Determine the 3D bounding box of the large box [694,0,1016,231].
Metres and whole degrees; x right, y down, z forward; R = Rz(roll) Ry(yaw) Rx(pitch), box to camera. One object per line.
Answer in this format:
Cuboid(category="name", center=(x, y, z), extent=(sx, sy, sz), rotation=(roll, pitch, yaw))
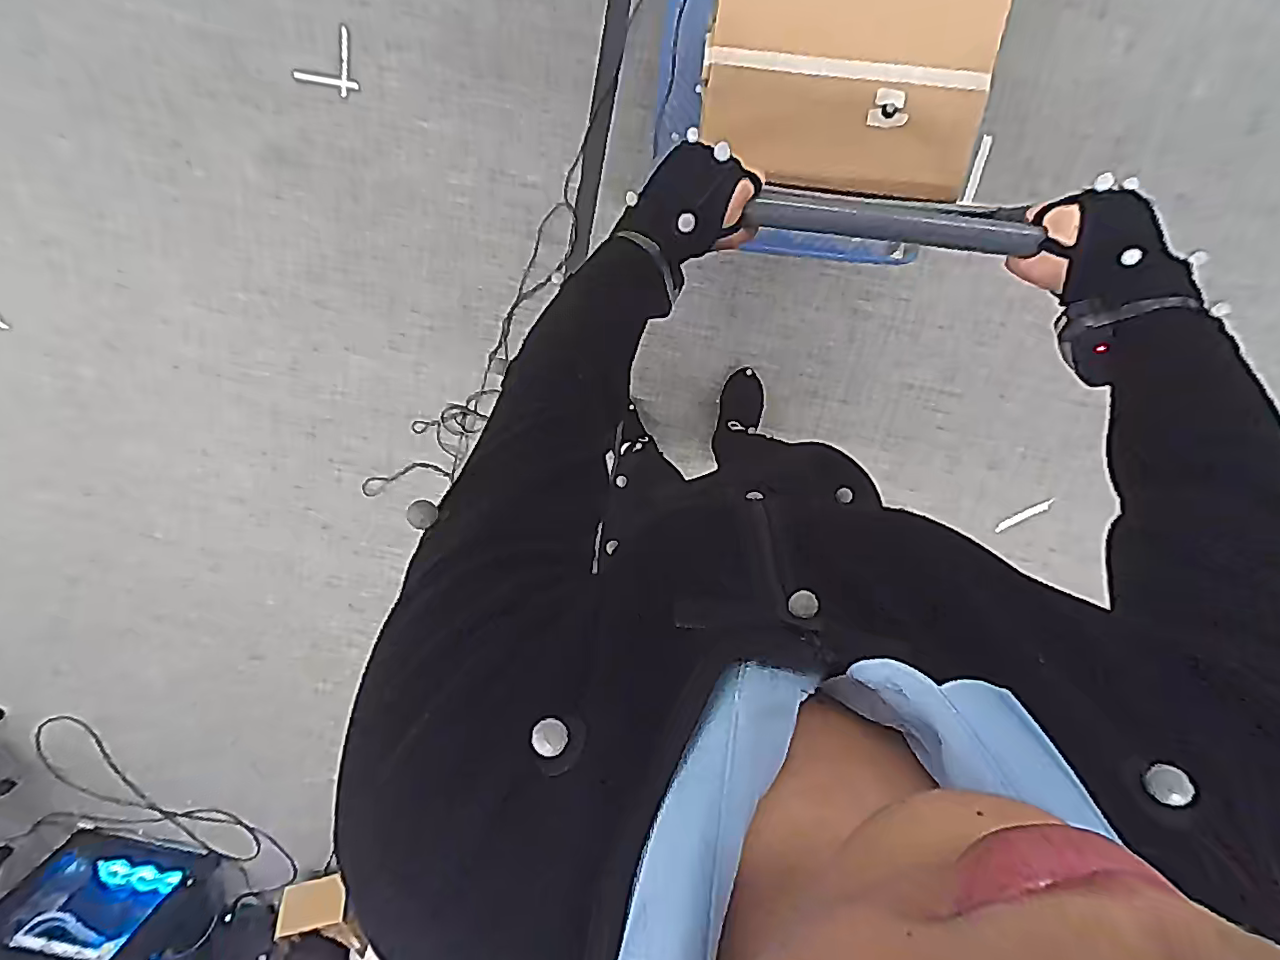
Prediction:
Cuboid(category="large box", center=(0.312, -0.622, 0.915), extent=(0.408, 0.320, 0.320), rotation=(7, 110, 1))
